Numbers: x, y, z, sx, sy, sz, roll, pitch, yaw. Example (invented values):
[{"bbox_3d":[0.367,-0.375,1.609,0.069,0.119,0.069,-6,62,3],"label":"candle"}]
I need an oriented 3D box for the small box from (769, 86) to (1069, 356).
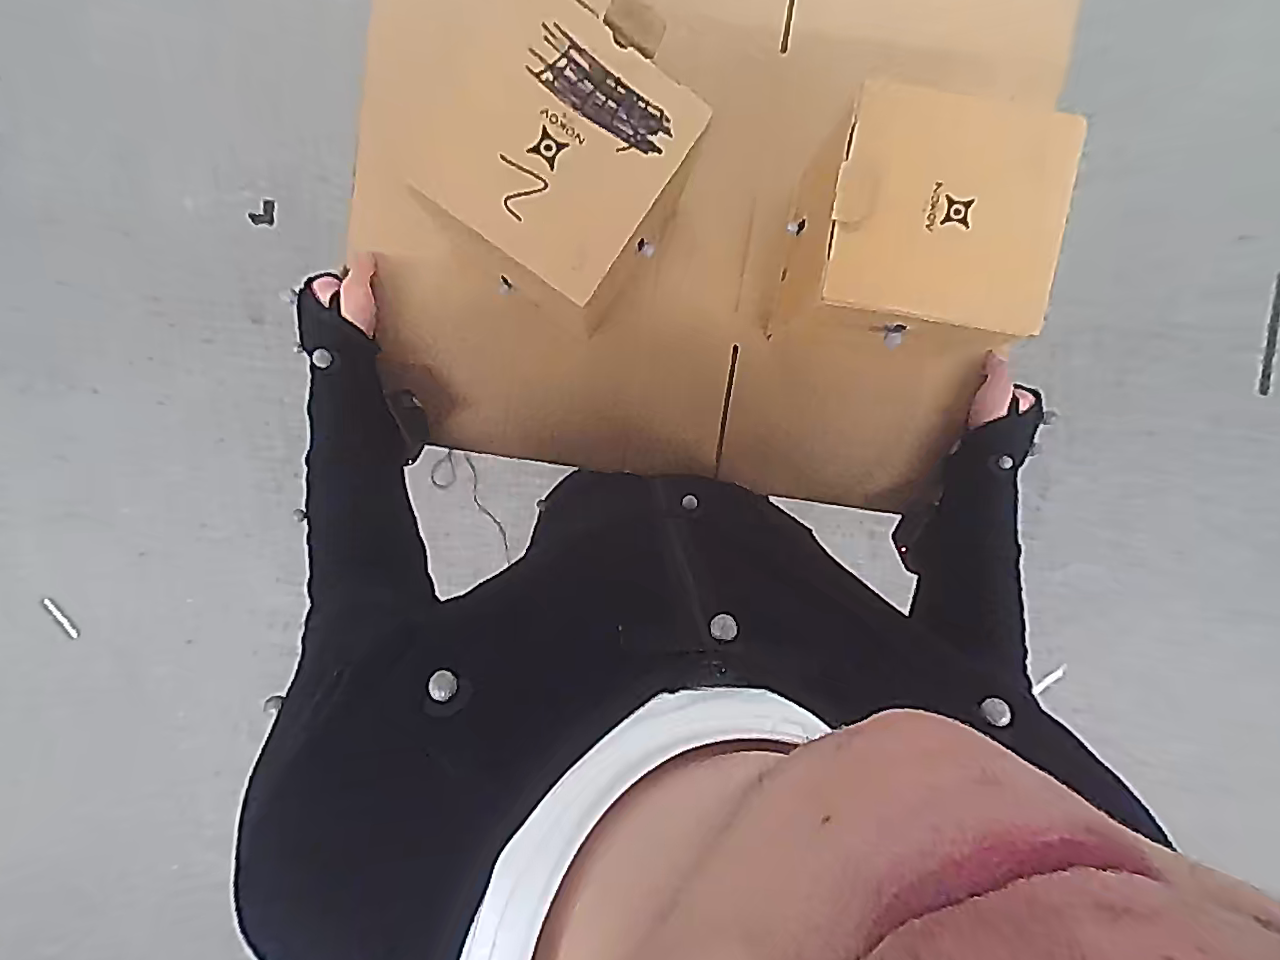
[{"bbox_3d":[0.237,-0.219,0.507,0.179,0.176,0.168,10,94,0],"label":"small box"}]
